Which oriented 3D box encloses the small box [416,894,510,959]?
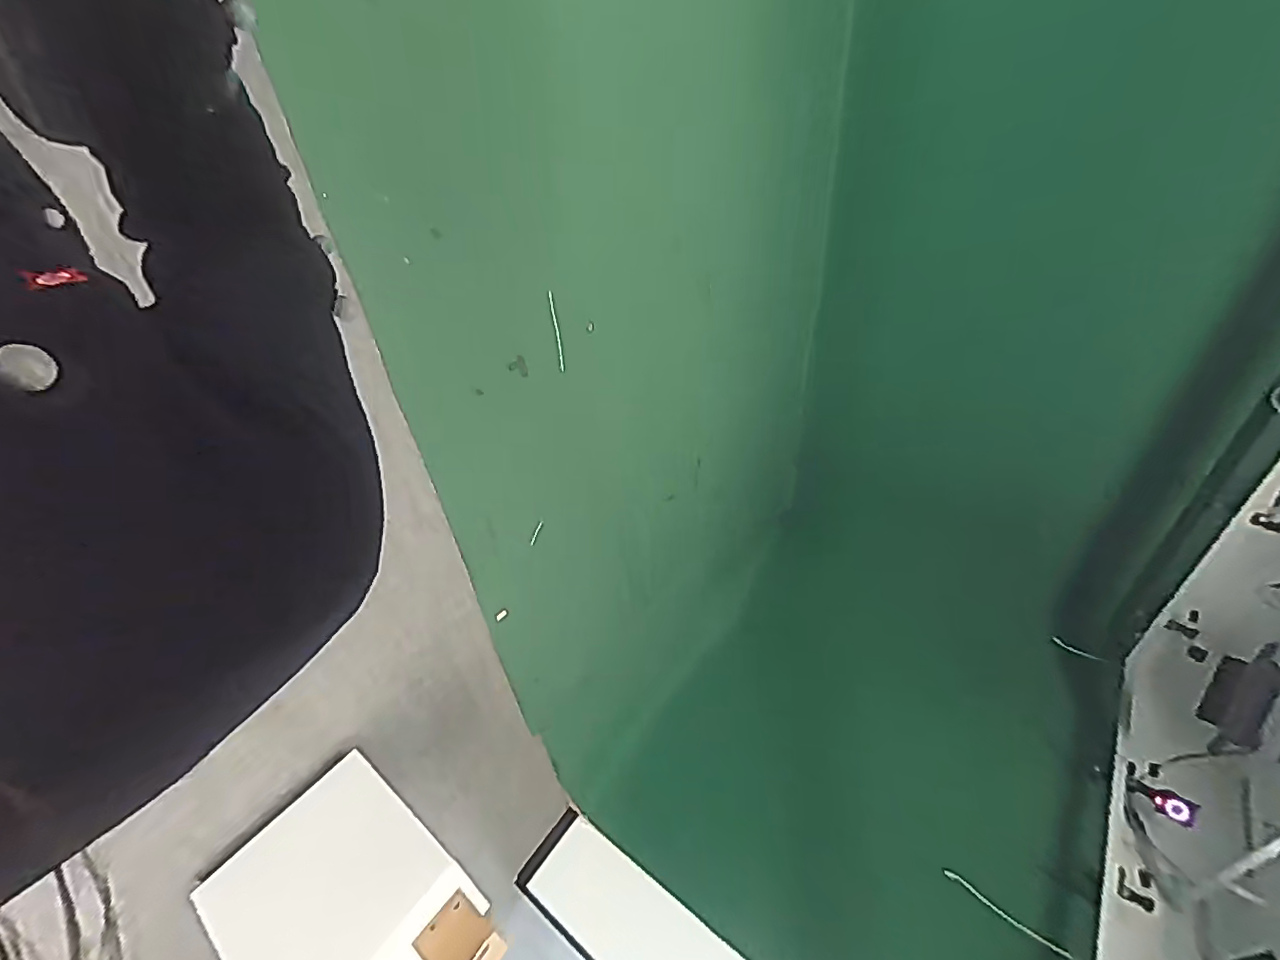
[{"bbox_3d":[-0.502,1.328,1.532,0.168,0.176,0.179,-39,138,-37],"label":"small box"}]
